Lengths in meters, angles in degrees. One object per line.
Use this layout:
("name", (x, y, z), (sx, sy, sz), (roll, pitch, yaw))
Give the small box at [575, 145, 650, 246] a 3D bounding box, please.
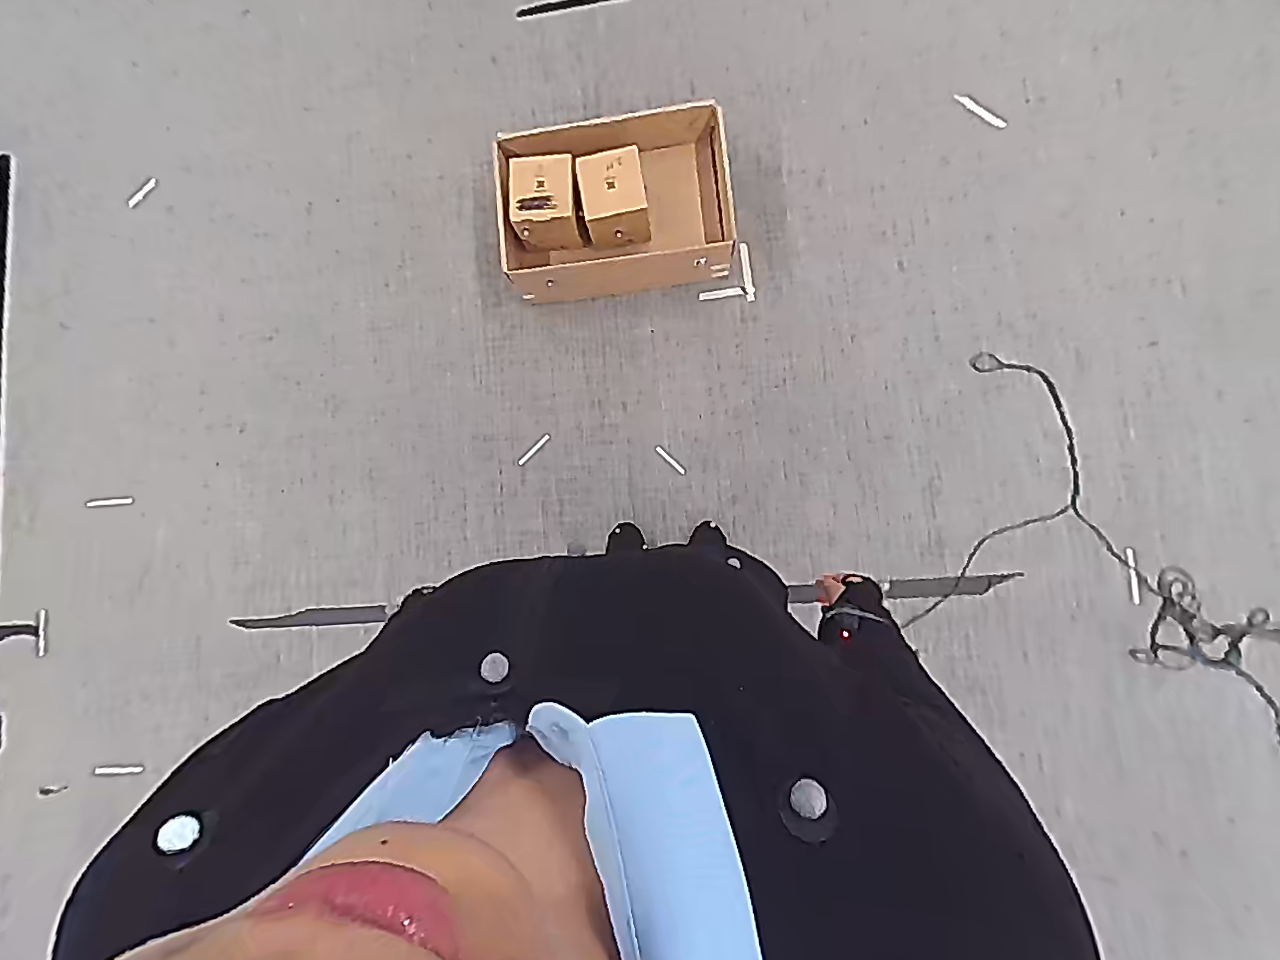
("small box", (-0.070, -0.758, 1.468), (0.168, 0.176, 0.179), (-10, 84, 4))
